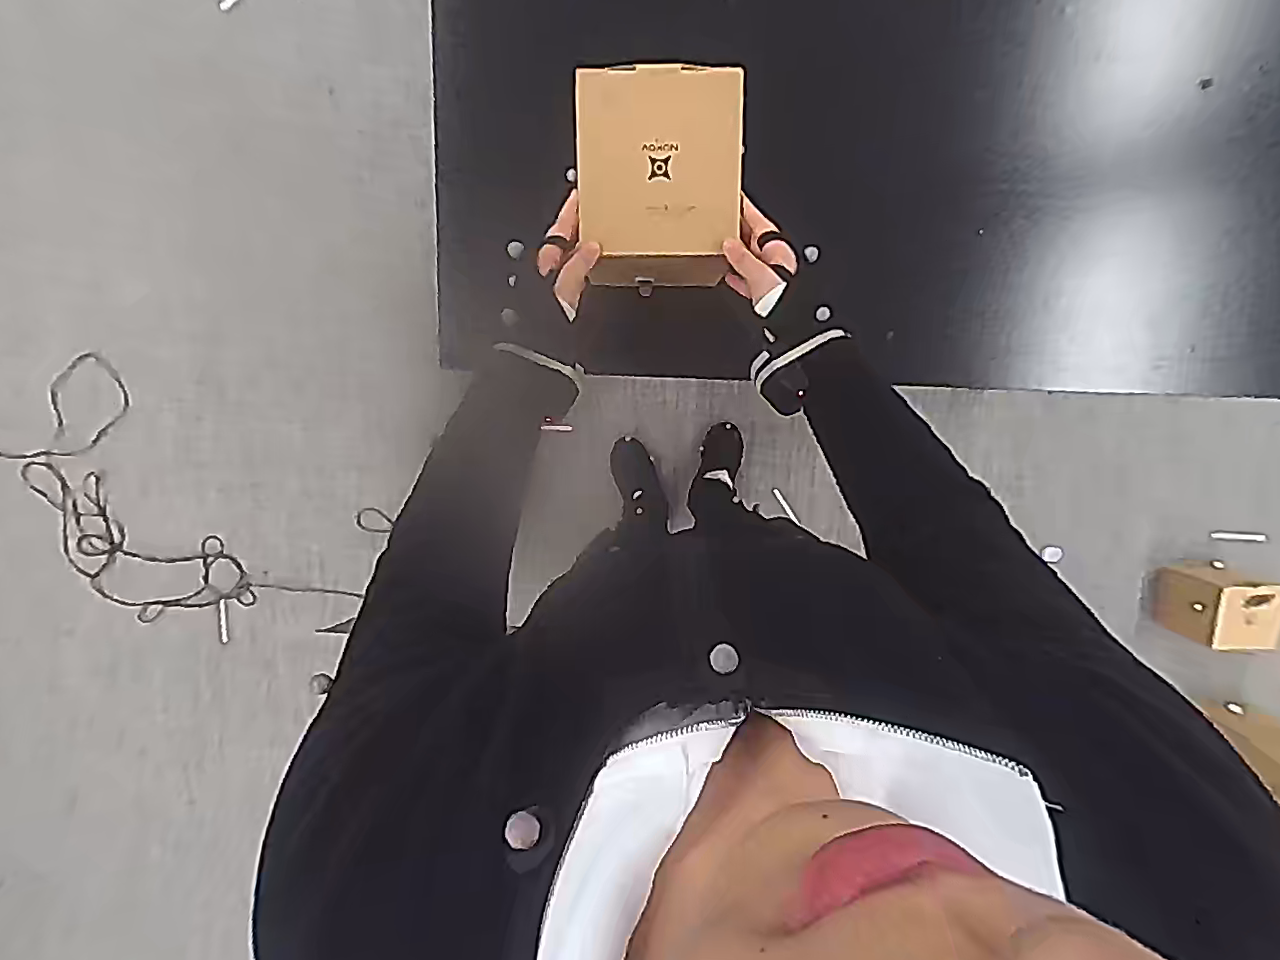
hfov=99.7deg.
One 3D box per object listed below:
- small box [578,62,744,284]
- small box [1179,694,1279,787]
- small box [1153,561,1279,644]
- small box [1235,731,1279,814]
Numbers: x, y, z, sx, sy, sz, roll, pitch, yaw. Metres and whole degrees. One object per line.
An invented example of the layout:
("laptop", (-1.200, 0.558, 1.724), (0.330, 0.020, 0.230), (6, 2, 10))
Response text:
("small box", (0.020, -0.331, 0.615), (0.168, 0.176, 0.179), (-1, 100, 1))
("small box", (1.699, 0.736, 1.537), (0.168, 0.176, 0.179), (-4, 100, 0))
("small box", (1.553, 0.325, 1.466), (0.168, 0.176, 0.179), (-1, 100, 0))
("small box", (1.691, 0.761, 1.376), (0.179, 0.176, 0.168), (-5, 100, 1))
